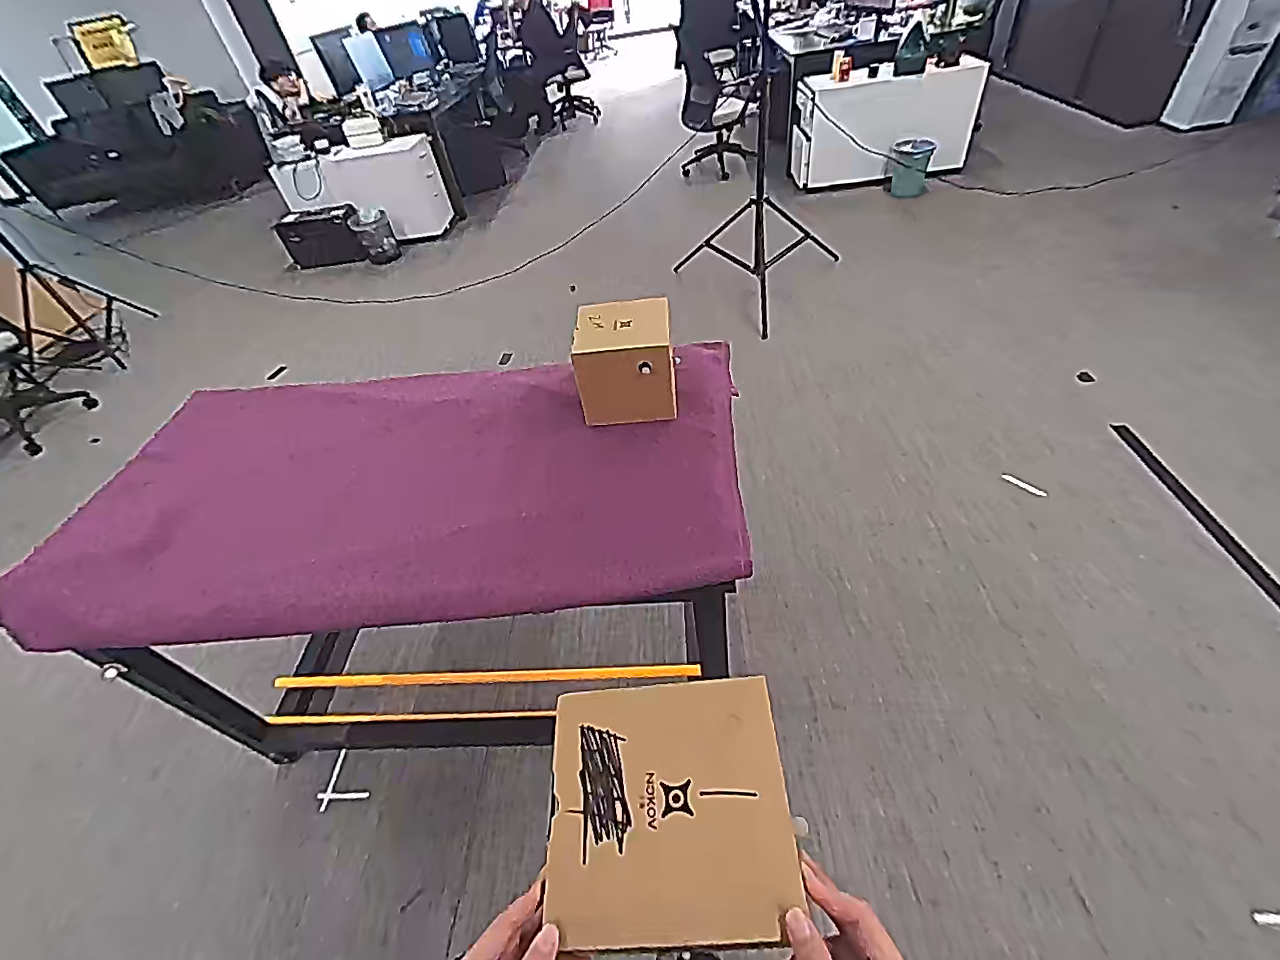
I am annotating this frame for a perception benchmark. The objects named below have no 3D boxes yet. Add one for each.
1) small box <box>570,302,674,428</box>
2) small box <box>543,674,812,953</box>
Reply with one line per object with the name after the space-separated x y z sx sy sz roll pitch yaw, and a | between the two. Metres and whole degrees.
-0.025 -0.218 1.040 0.179 0.176 0.168 -4 45 6 | small box
0.035 0.281 0.450 0.179 0.176 0.168 -8 48 7 | small box
